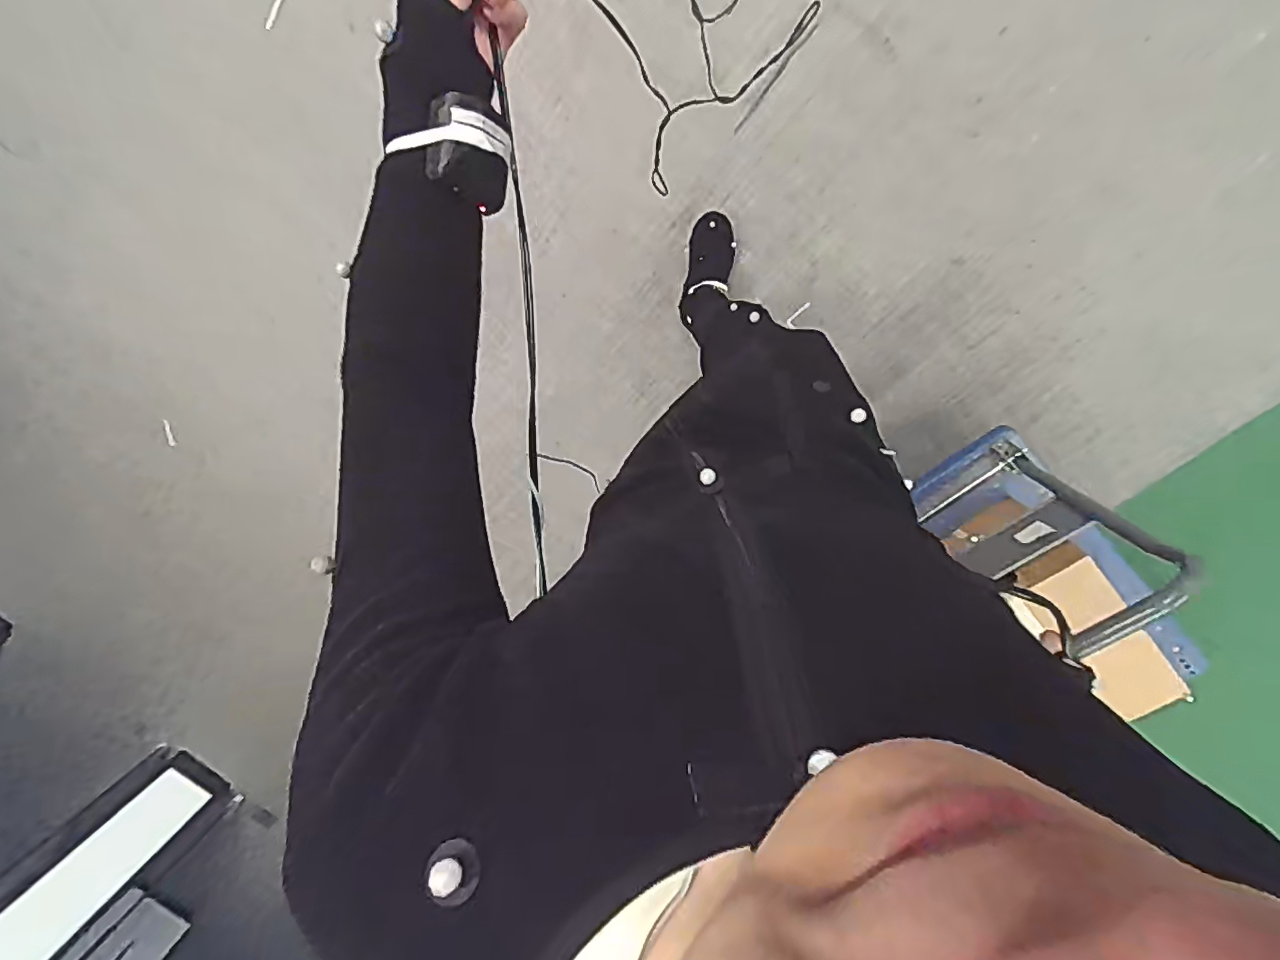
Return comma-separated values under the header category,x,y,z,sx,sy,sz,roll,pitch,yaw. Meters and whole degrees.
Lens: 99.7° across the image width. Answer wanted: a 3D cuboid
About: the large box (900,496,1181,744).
category,x,y,z,sx,sy,sz,roll,pitch,yaw
large box,0.905,0.315,1.280,0.320,0.320,0.408,-39,100,21
